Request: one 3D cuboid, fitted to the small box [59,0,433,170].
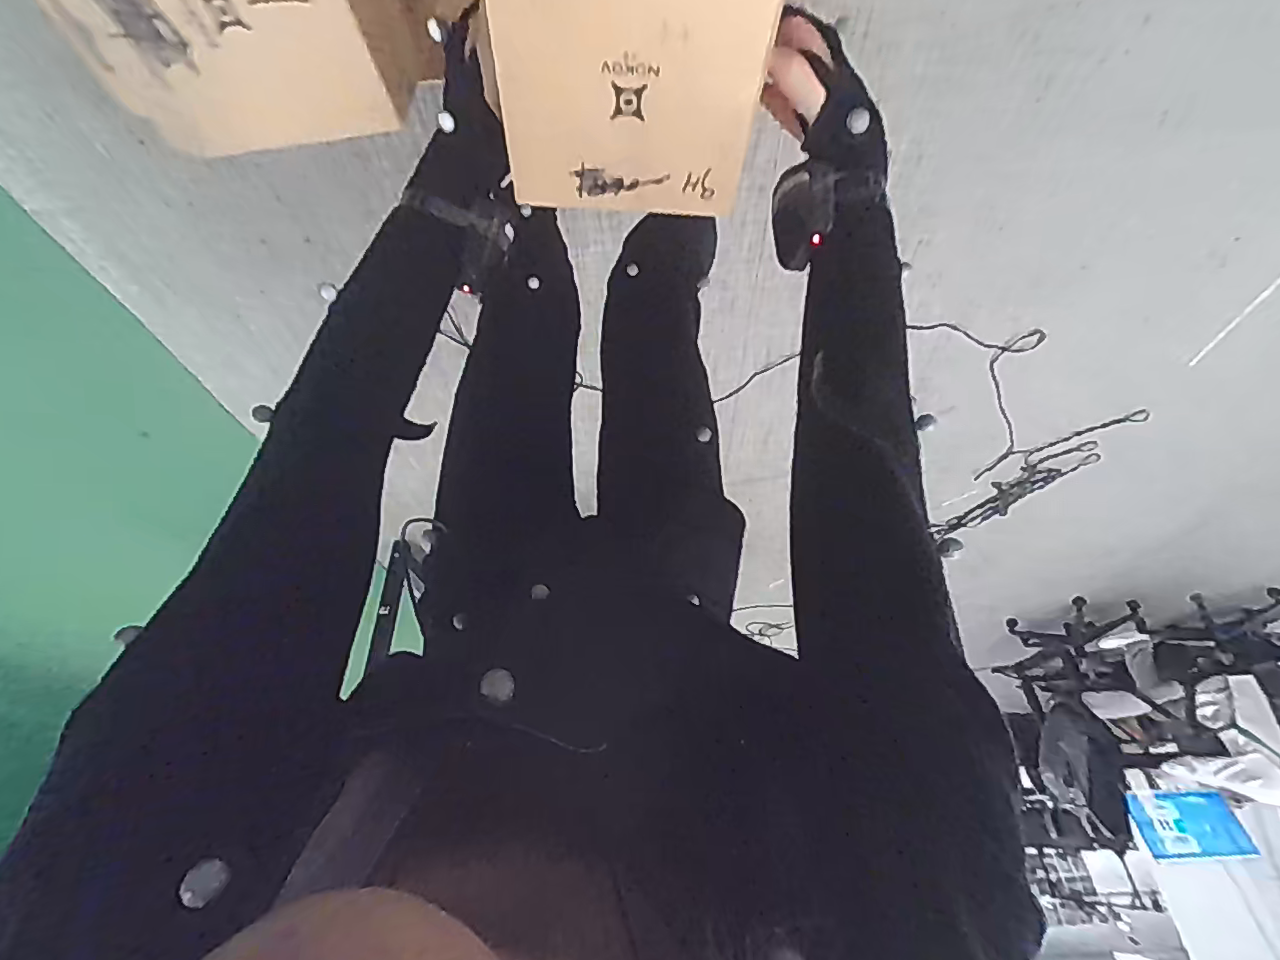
[{"bbox_3d":[-0.274,-0.359,0.389,0.179,0.176,0.168,-6,149,3],"label":"small box"}]

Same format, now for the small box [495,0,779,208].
[{"bbox_3d":[-0.006,-0.325,0.379,0.168,0.176,0.179,1,153,-3],"label":"small box"}]
